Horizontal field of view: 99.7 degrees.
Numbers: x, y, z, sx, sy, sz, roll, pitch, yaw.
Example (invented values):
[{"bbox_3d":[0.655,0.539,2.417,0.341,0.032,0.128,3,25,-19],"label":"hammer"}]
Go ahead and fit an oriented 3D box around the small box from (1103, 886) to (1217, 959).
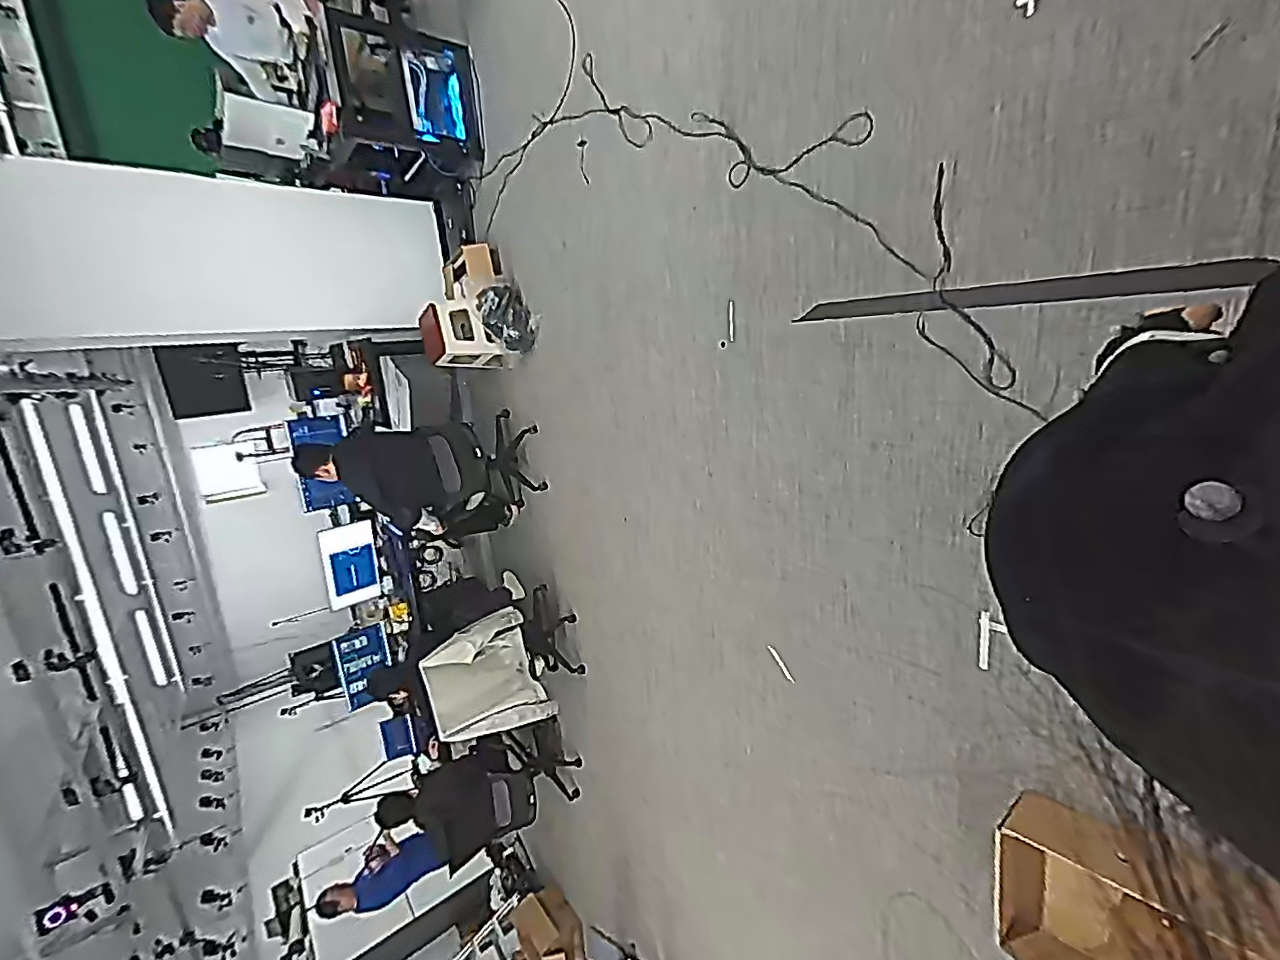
[{"bbox_3d":[1.164,1.081,1.211,0.168,0.176,0.179,4,105,51],"label":"small box"}]
